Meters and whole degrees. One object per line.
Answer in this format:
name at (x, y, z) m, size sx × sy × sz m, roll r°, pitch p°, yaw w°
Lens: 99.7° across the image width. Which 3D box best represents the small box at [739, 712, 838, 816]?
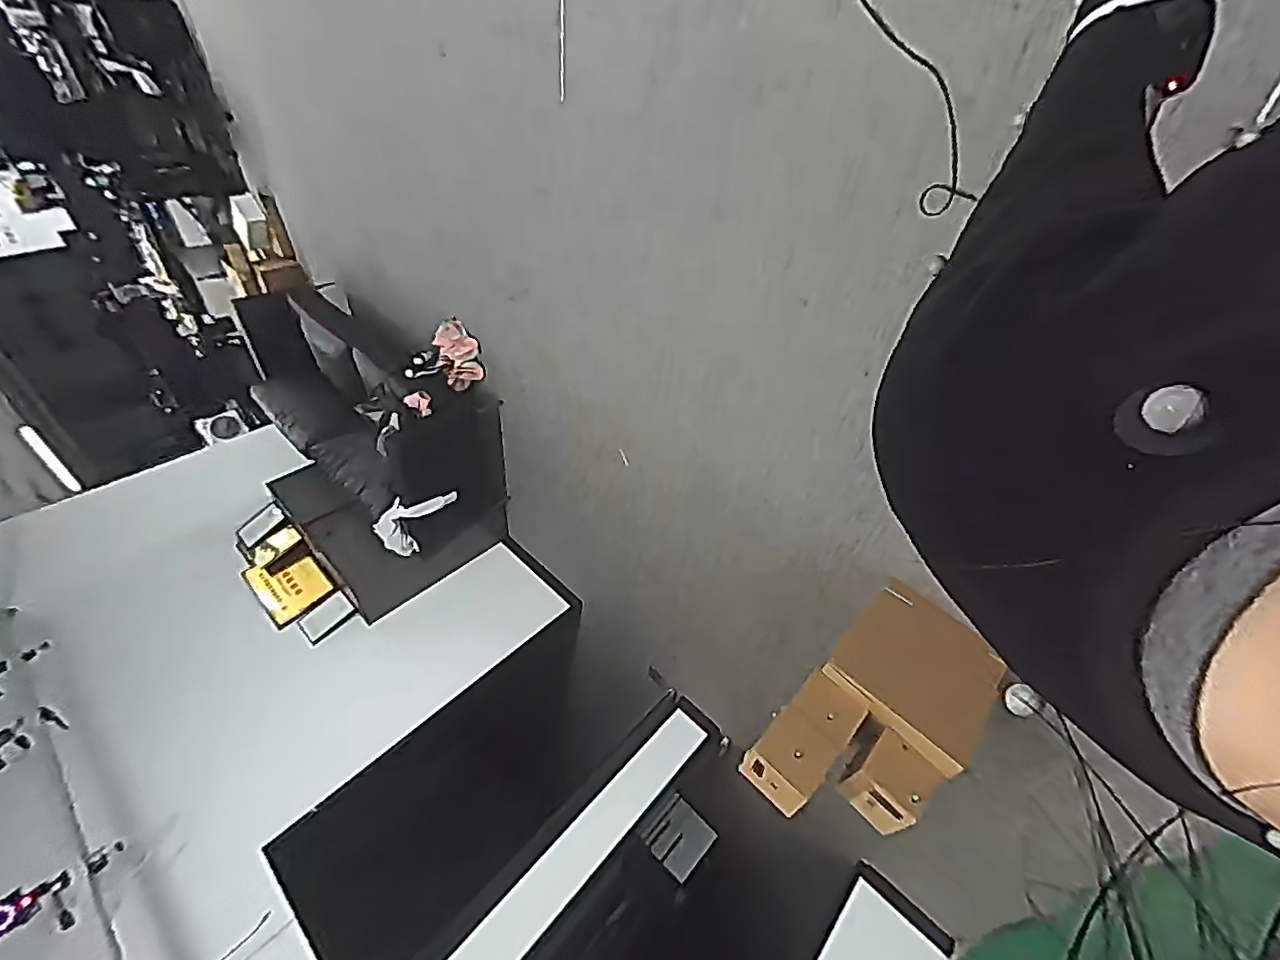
small box at (0.406, 0.771, 1.488) m, size 0.179 × 0.176 × 0.168 m, roll 37°, pitch 140°, yaw 25°
